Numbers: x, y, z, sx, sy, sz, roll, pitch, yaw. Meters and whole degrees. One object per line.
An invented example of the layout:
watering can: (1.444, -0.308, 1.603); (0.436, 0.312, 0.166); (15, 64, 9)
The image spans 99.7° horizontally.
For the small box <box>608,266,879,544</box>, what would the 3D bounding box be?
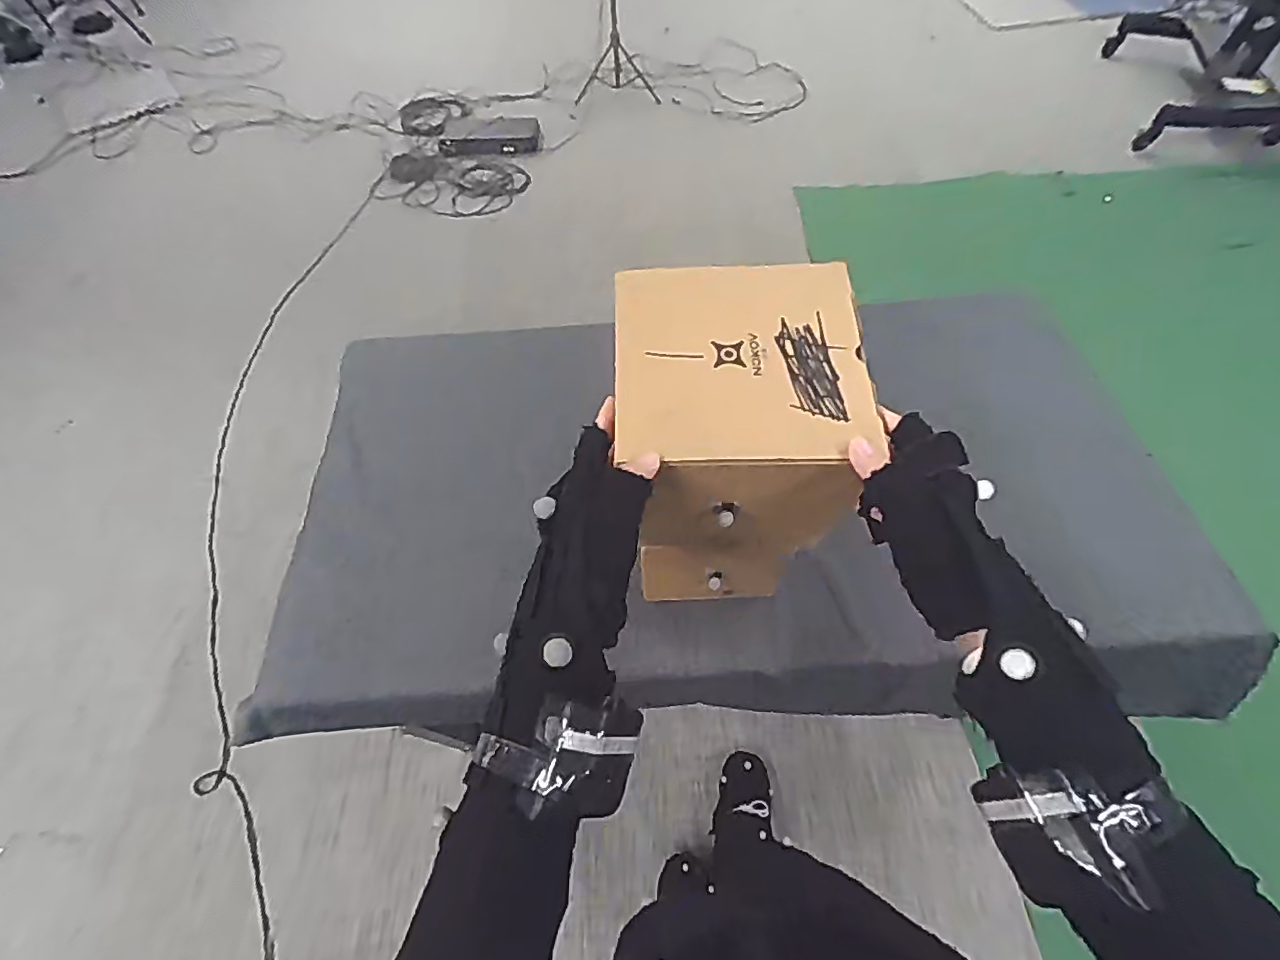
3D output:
small box: (0.067, -0.050, 0.448); (0.179, 0.176, 0.168); (-2, 65, 2)

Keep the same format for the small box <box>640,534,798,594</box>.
small box: (0.084, 0.033, 0.663); (0.168, 0.176, 0.179); (-4, 59, 1)
